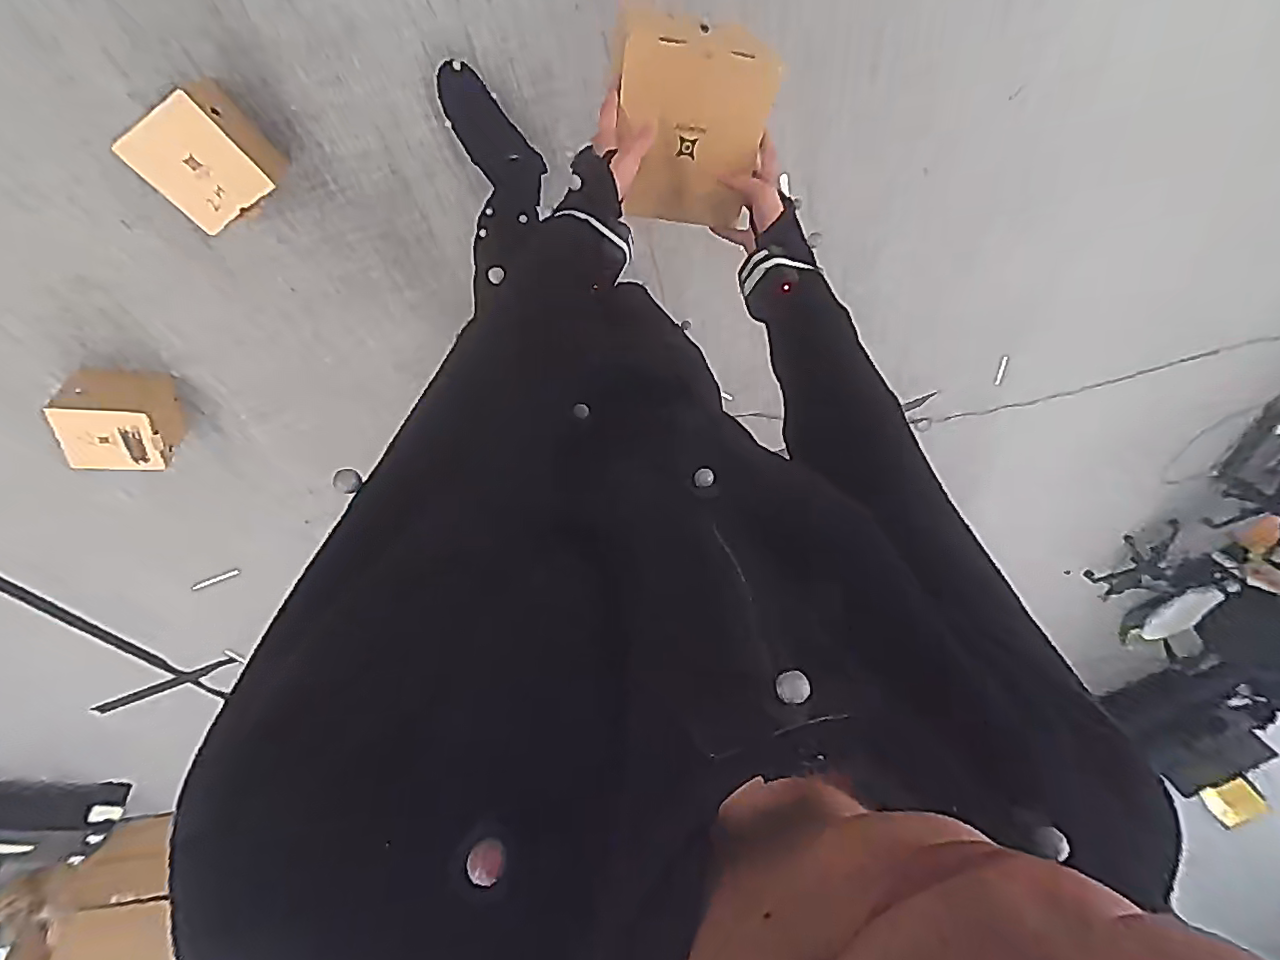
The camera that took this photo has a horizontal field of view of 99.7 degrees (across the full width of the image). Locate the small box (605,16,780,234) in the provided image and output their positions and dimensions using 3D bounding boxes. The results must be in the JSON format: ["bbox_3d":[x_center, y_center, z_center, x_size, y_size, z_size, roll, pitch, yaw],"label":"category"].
[{"bbox_3d":[0.048,-0.428,0.657,0.168,0.176,0.179,2,136,-9],"label":"small box"}]

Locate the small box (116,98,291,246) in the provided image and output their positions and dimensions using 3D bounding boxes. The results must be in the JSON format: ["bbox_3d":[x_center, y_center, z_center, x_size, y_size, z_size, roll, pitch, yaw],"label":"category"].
[{"bbox_3d":[-0.802,-0.584,1.016,0.168,0.176,0.179,-32,134,8],"label":"small box"}]
